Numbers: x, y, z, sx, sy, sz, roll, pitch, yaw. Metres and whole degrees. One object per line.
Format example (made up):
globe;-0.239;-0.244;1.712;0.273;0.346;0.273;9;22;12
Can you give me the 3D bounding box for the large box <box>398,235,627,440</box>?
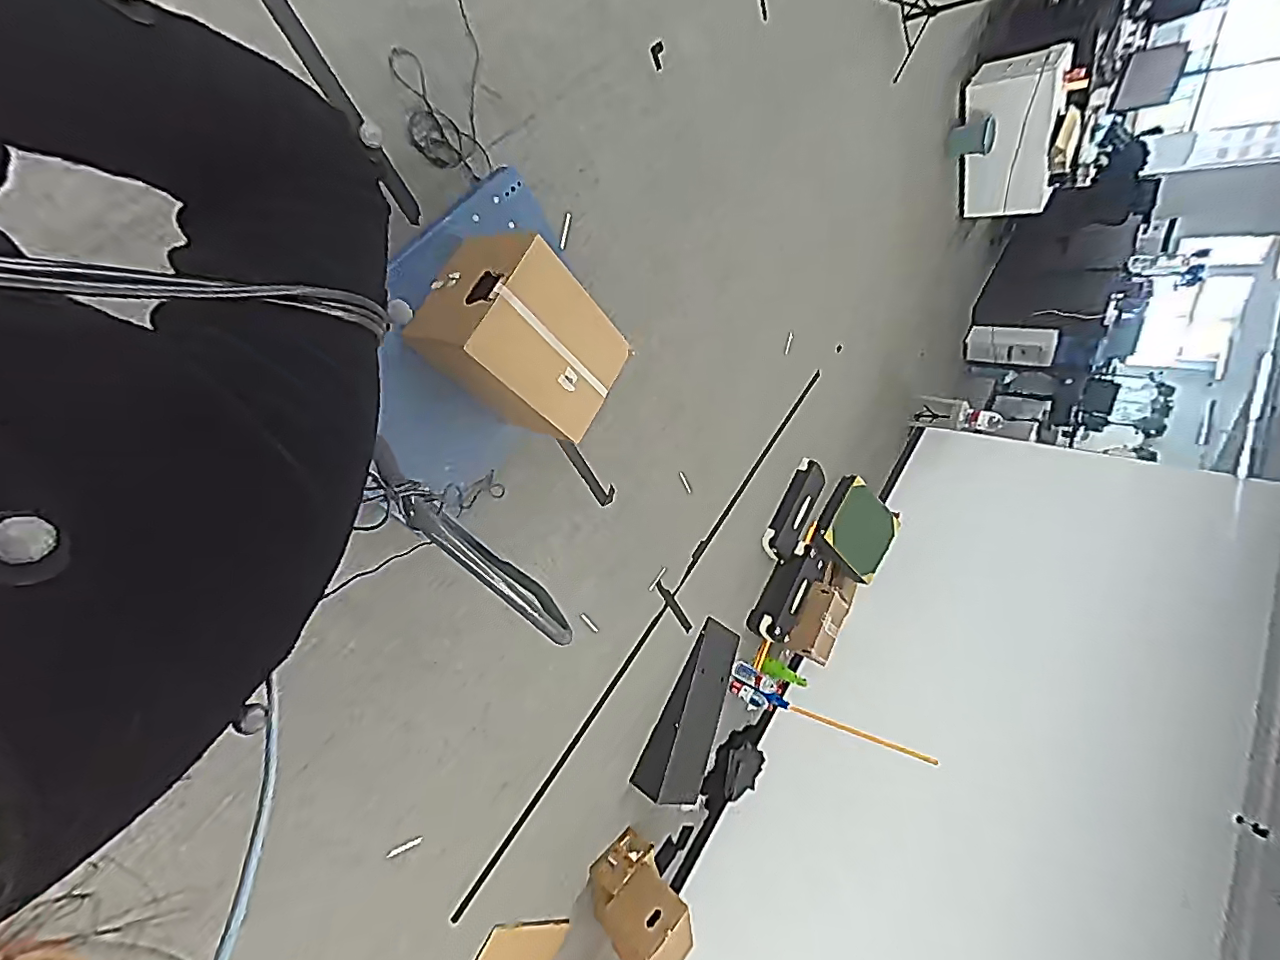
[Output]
large box;-0.310;-0.351;1.373;0.408;0.320;0.320;42;73;-48
